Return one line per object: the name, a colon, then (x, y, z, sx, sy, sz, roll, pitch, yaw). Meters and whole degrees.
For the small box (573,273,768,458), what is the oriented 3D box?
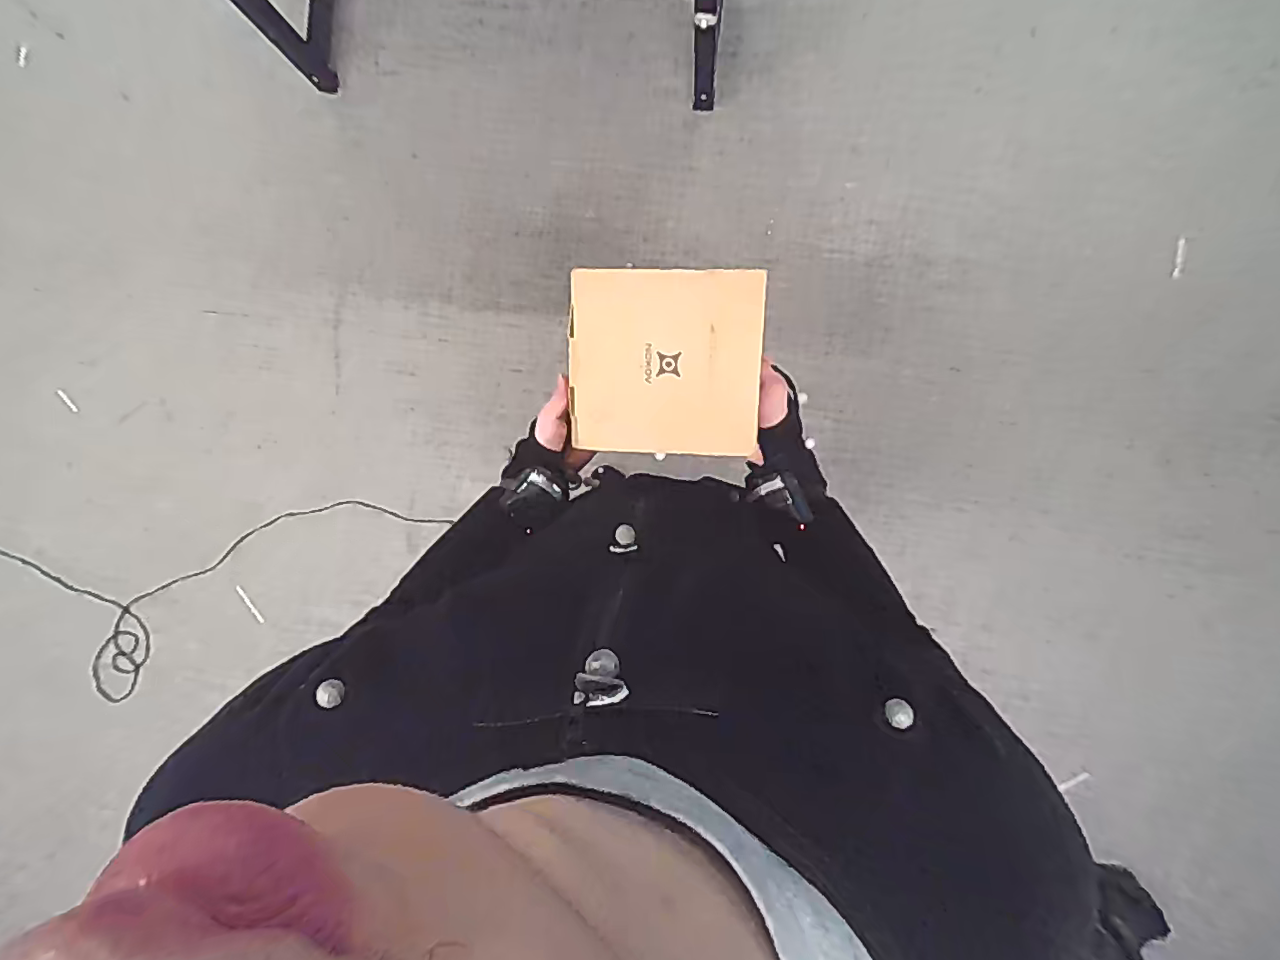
small box: (0.035, -0.120, 0.571, 0.179, 0.176, 0.168, 2, 104, 7)
